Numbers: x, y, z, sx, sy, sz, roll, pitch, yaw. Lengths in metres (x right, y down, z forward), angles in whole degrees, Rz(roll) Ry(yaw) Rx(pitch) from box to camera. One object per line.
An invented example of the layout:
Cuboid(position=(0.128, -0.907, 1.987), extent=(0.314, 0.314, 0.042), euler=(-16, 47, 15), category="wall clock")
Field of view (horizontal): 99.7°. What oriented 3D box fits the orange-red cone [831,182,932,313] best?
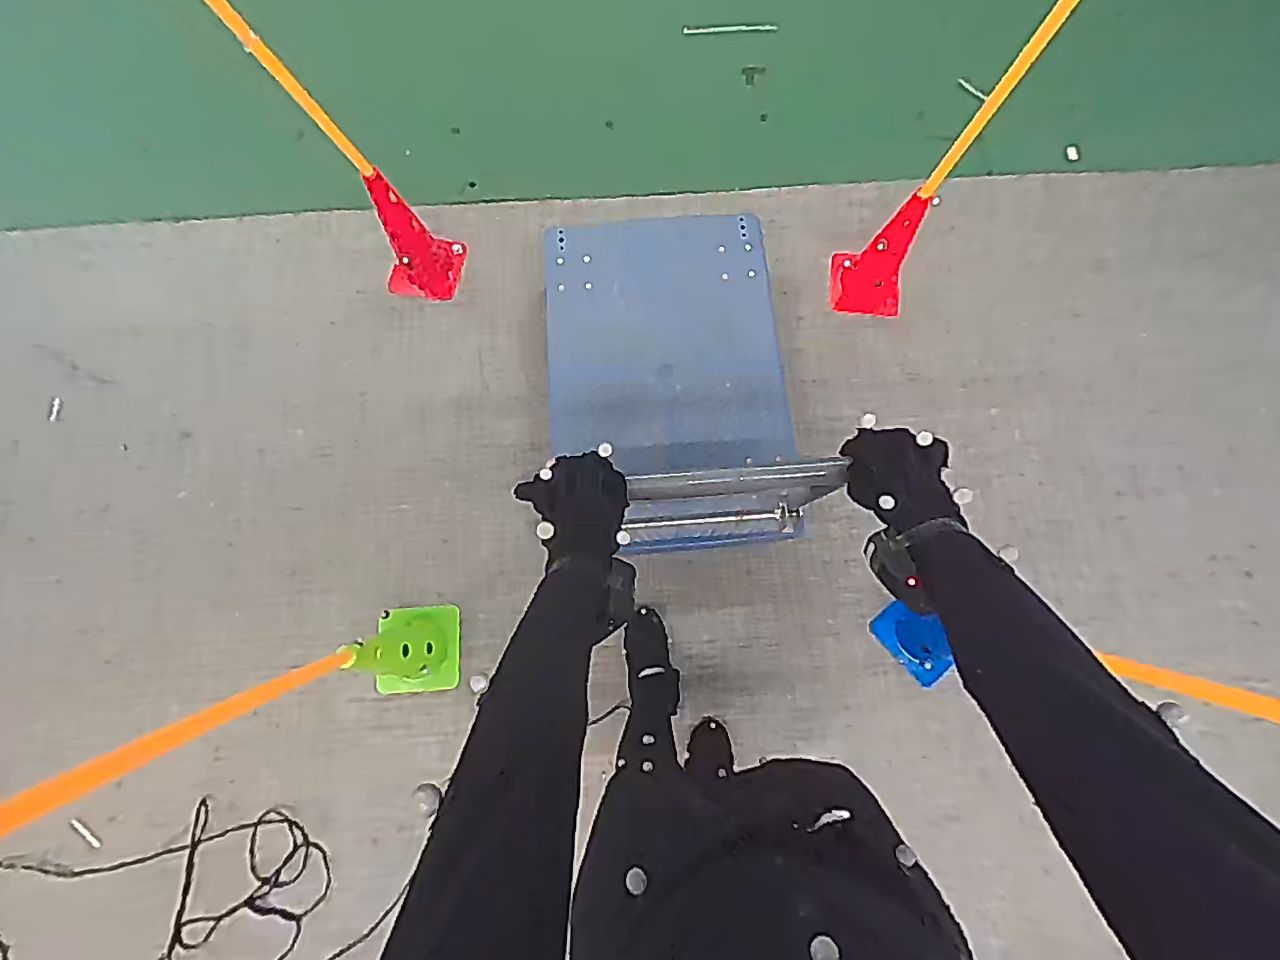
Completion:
Cuboid(position=(0.654, -0.621, 1.404), extent=(0.198, 0.360, 0.199), euler=(8, 77, 3), category="orange-red cone")
